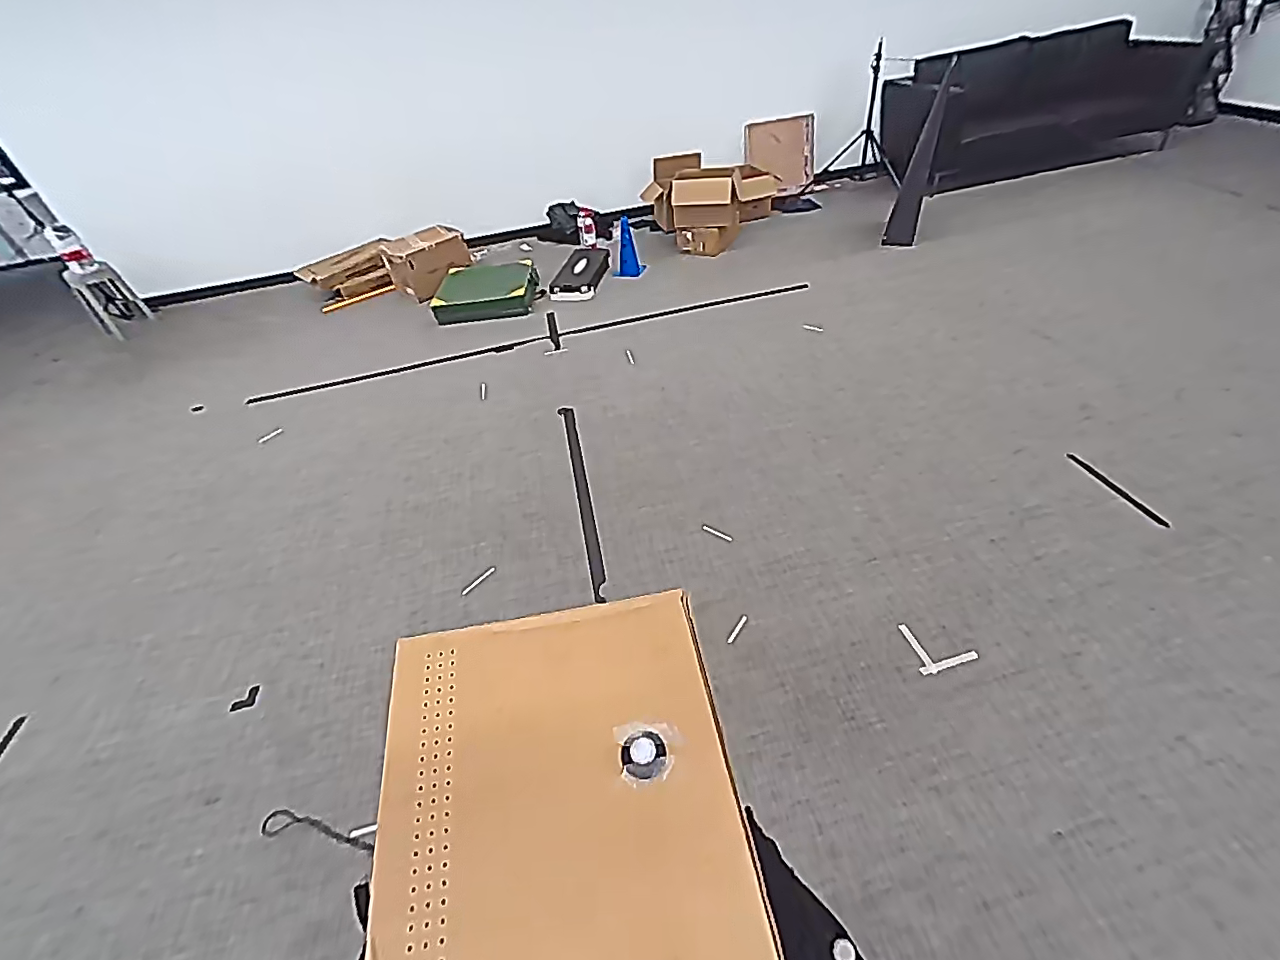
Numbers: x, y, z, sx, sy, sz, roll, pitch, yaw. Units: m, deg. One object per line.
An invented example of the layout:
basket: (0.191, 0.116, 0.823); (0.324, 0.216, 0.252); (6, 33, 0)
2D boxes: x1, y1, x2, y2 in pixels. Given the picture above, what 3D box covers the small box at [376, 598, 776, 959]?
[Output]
small box: (-0.038, 0.198, 0.325); (0.176, 0.168, 0.179); (-9, 51, -4)
